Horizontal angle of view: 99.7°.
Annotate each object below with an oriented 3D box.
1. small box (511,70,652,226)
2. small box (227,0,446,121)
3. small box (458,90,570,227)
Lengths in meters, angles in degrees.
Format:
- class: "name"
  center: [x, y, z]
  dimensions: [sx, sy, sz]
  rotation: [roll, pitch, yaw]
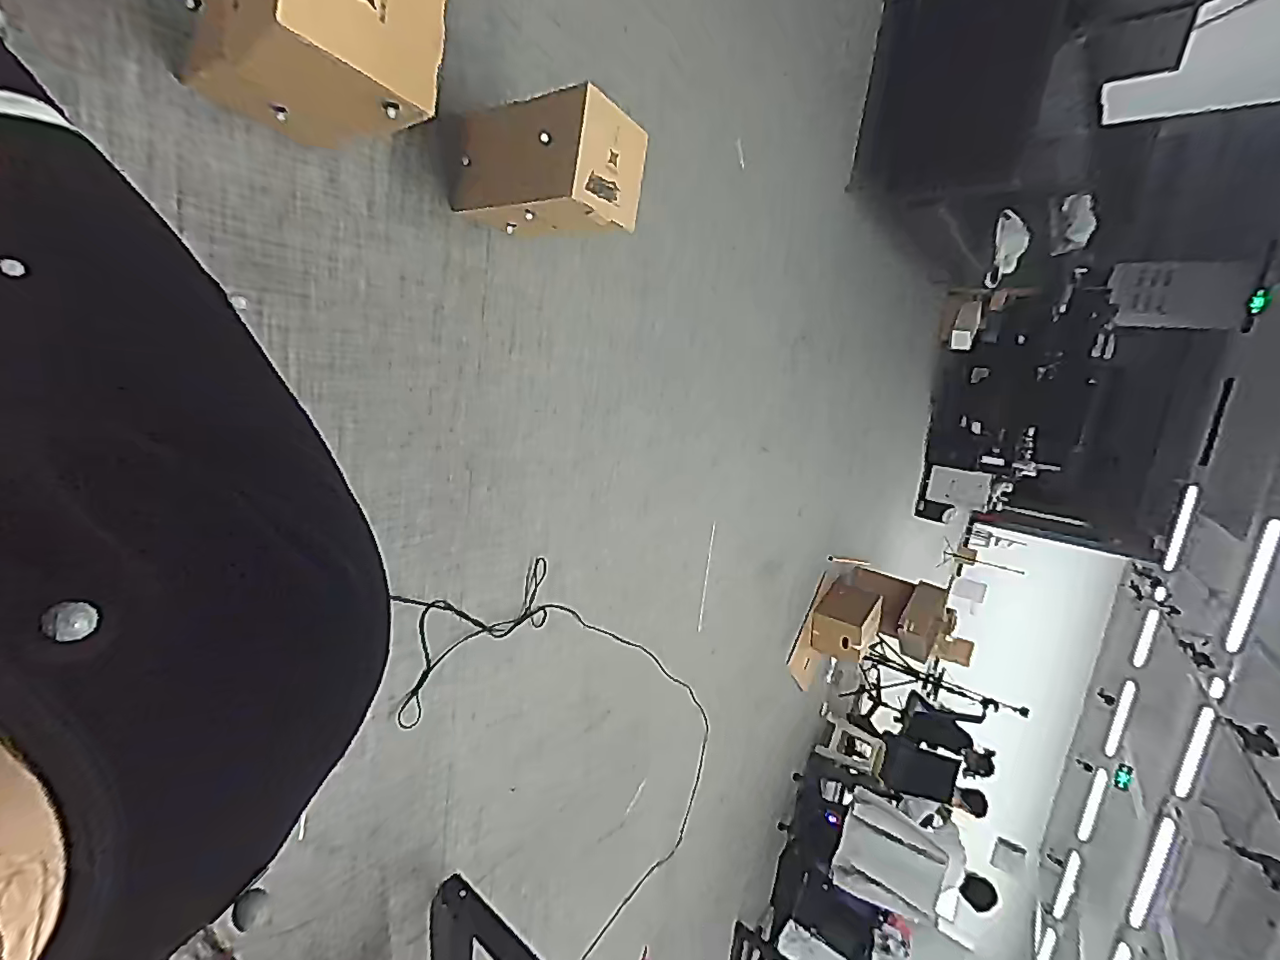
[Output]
- class: "small box"
  center: [-0.106, -0.565, 0.953]
  dimensions: [0.168, 0.176, 0.179]
  rotation: [-1, 102, -53]
- class: "small box"
  center: [-0.353, -0.556, 0.632]
  dimensions: [0.179, 0.176, 0.168]
  rotation: [-1, 103, -53]
- class: "small box"
  center: [-0.233, -0.607, 1.051]
  dimensions: [0.168, 0.176, 0.179]
  rotation: [-3, 106, -53]
